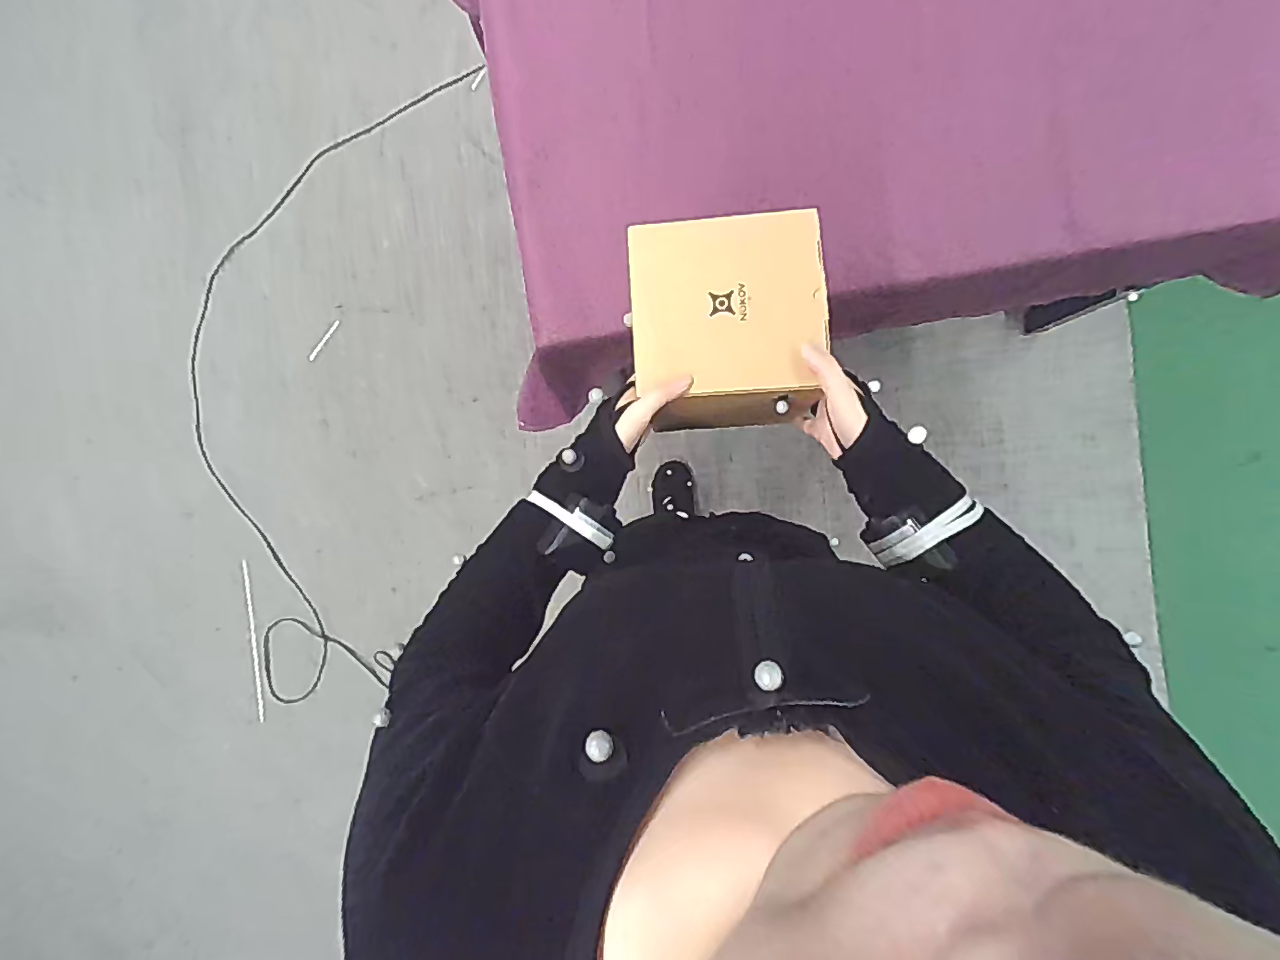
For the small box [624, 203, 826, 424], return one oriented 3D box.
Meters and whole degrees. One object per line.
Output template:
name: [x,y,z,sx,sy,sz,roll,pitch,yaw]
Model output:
small box: [0.083,-0.157,0.568,0.179,0.176,0.168,-3,84,5]
